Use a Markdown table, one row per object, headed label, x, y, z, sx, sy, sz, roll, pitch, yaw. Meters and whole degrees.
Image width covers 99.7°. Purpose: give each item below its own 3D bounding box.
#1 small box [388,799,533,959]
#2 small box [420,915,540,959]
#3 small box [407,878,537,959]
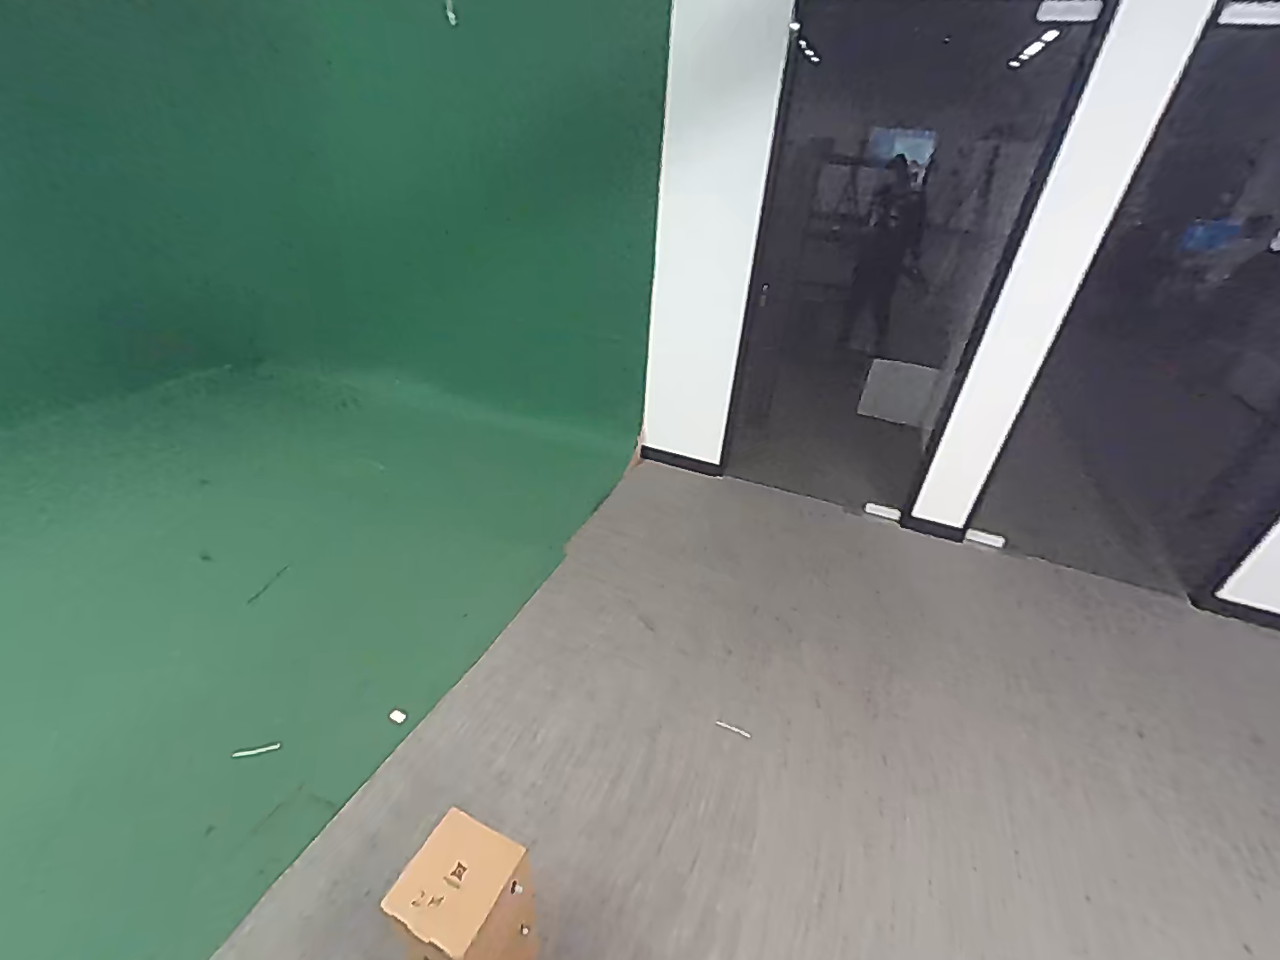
| label | x | y | z | sx | sy | sz | roll | pitch | yaw |
| --- | --- | --- | --- | --- | --- | --- | --- | --- | --- |
| small box | -0.303 | 0.718 | 0.948 | 0.168 | 0.176 | 0.179 | 16 | 35 | 20 |
| small box | -0.323 | 0.988 | 1.131 | 0.168 | 0.176 | 0.179 | 19 | 37 | 22 |
| small box | -0.312 | 0.854 | 1.041 | 0.168 | 0.176 | 0.179 | 16 | 36 | 20 |
